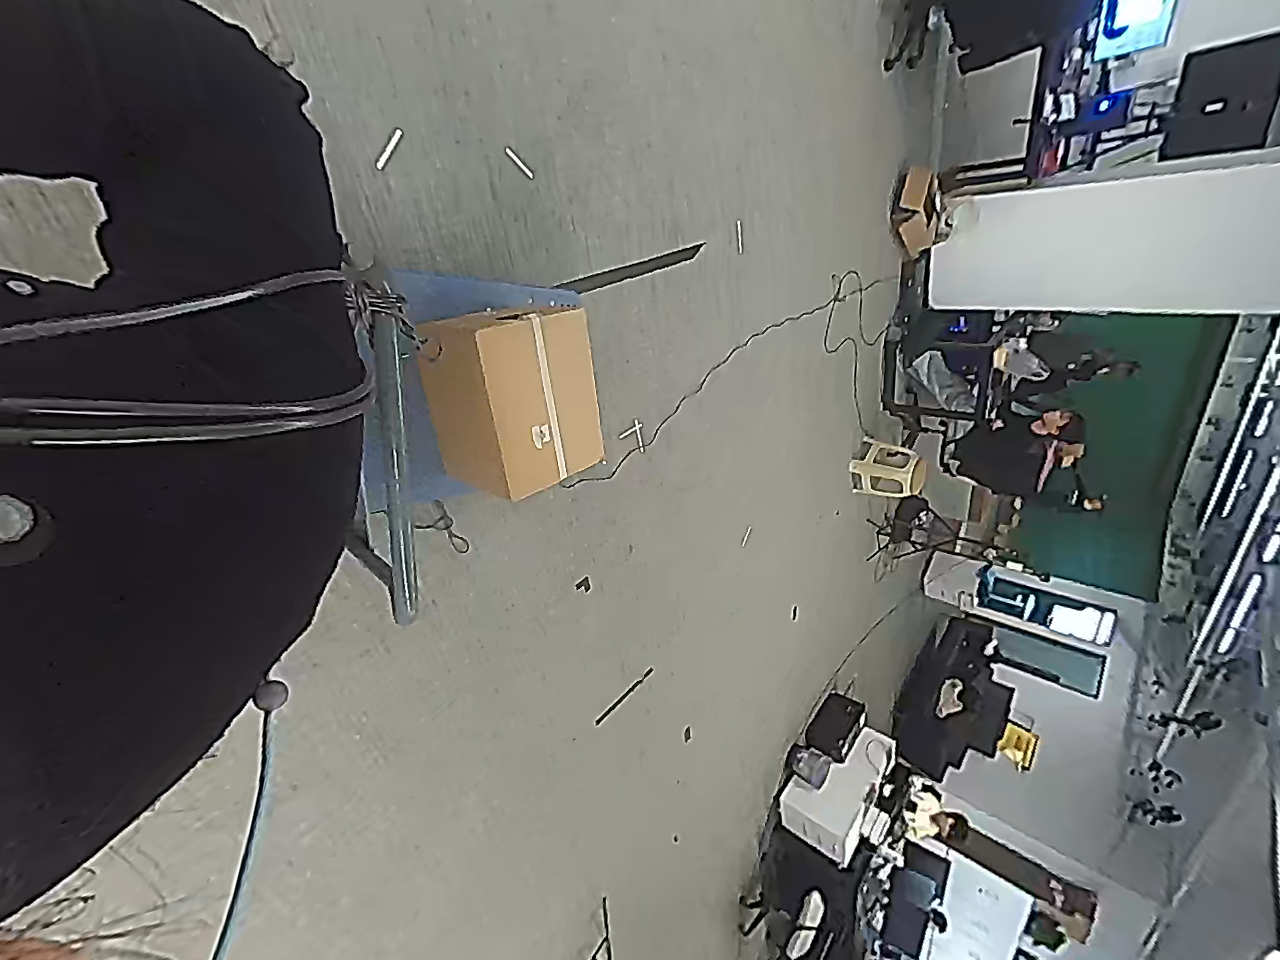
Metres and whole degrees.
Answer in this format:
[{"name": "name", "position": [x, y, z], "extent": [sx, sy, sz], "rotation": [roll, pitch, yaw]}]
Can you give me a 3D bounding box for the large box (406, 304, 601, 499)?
[{"name": "large box", "position": [-0.337, -0.218, 1.382], "extent": [0.320, 0.320, 0.408], "rotation": [-28, 123, -40]}]
